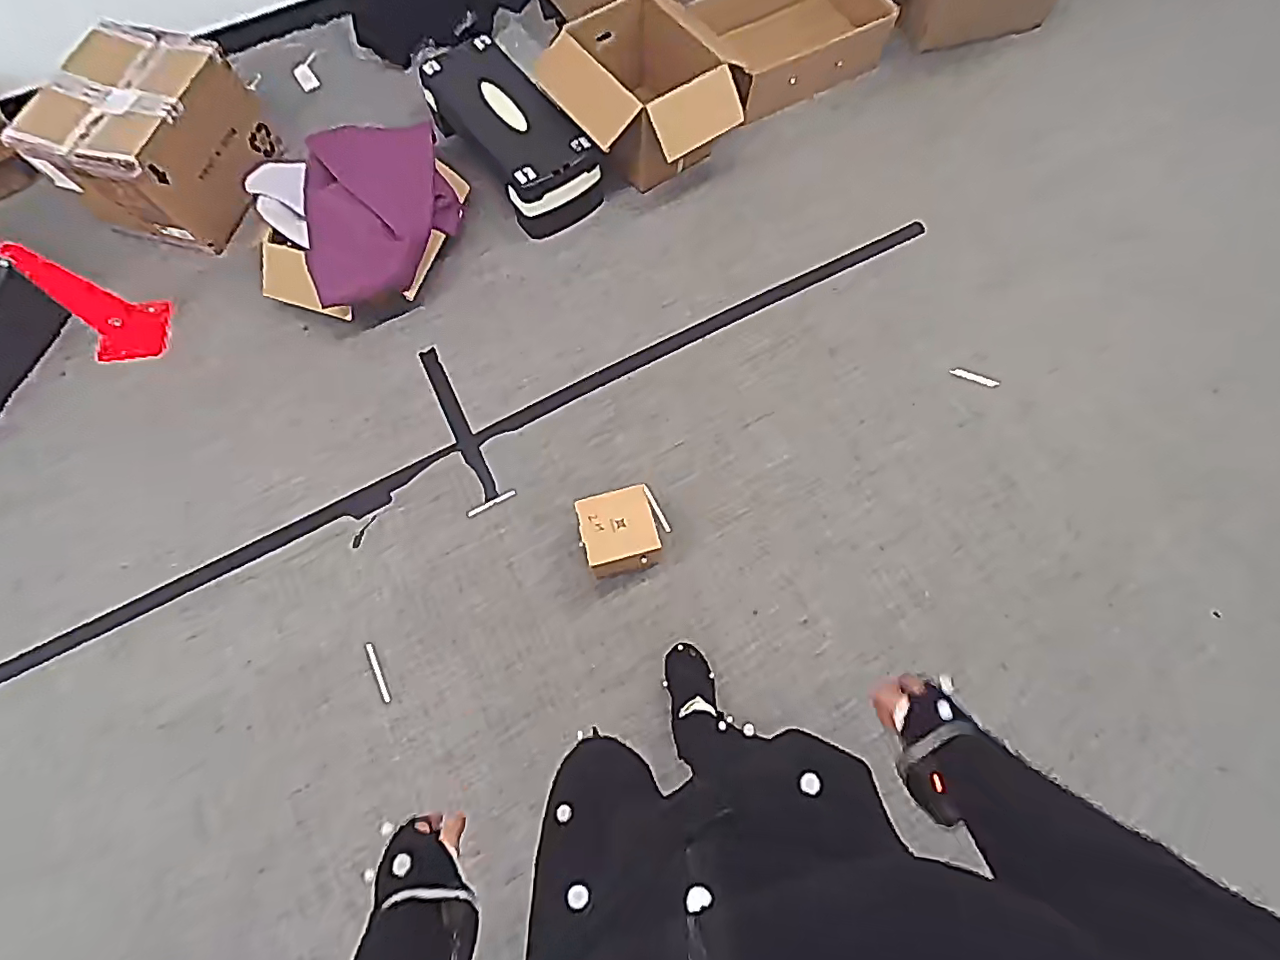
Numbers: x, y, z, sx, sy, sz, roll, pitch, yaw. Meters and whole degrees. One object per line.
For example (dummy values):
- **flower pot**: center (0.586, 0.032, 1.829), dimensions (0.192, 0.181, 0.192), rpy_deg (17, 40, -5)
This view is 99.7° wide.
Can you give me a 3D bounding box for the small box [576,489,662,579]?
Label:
- **small box**: center (-0.052, 0.141, 1.360), dimensions (0.179, 0.176, 0.168), rpy_deg (-14, 71, -5)
